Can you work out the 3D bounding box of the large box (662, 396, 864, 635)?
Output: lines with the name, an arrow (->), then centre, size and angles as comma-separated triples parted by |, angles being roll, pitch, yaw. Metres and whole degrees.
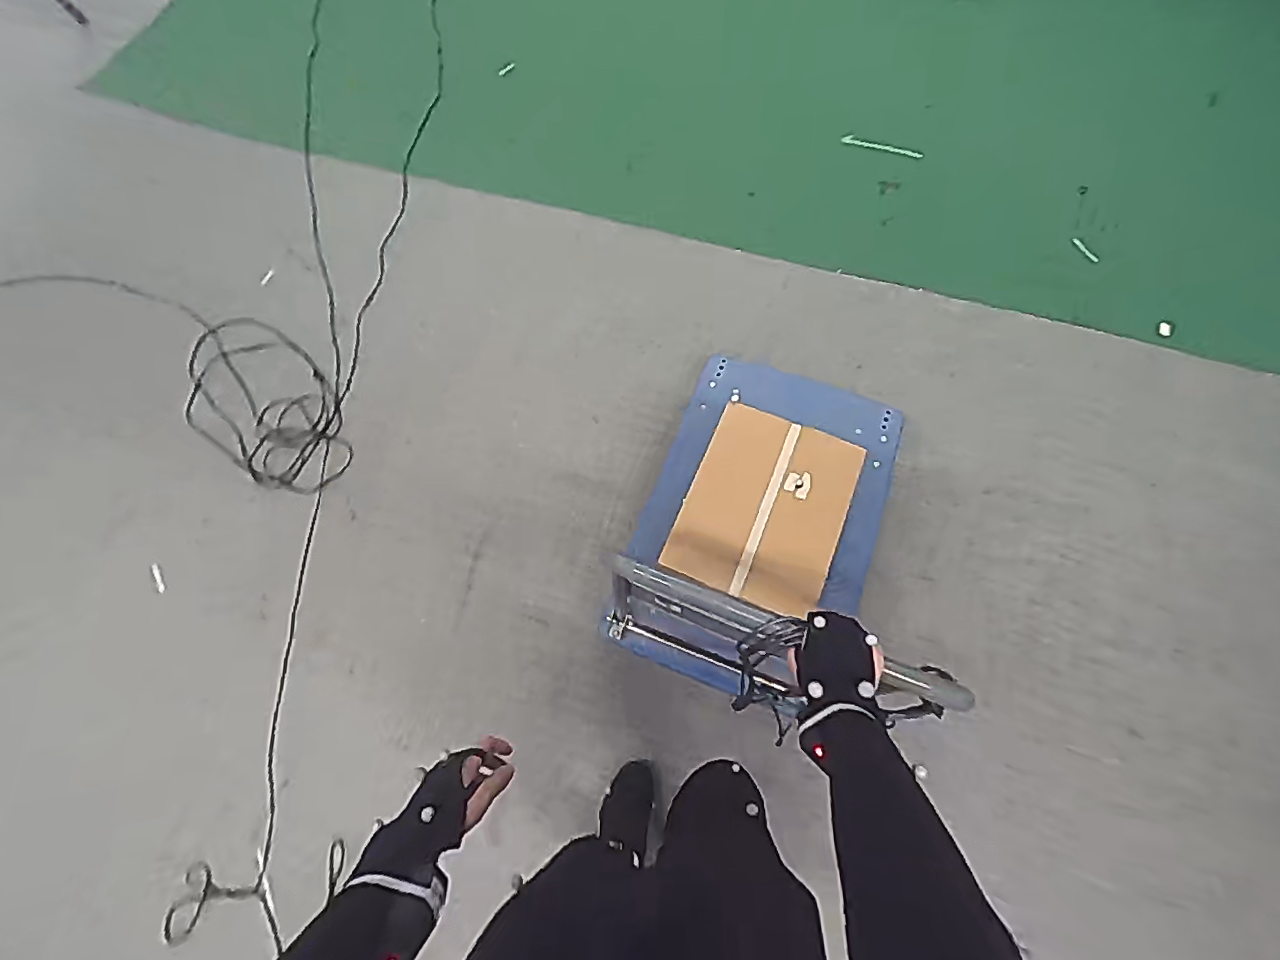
large box -> 0.261, 0.094, 1.234 | 0.320, 0.320, 0.408 | 22, 70, 9
